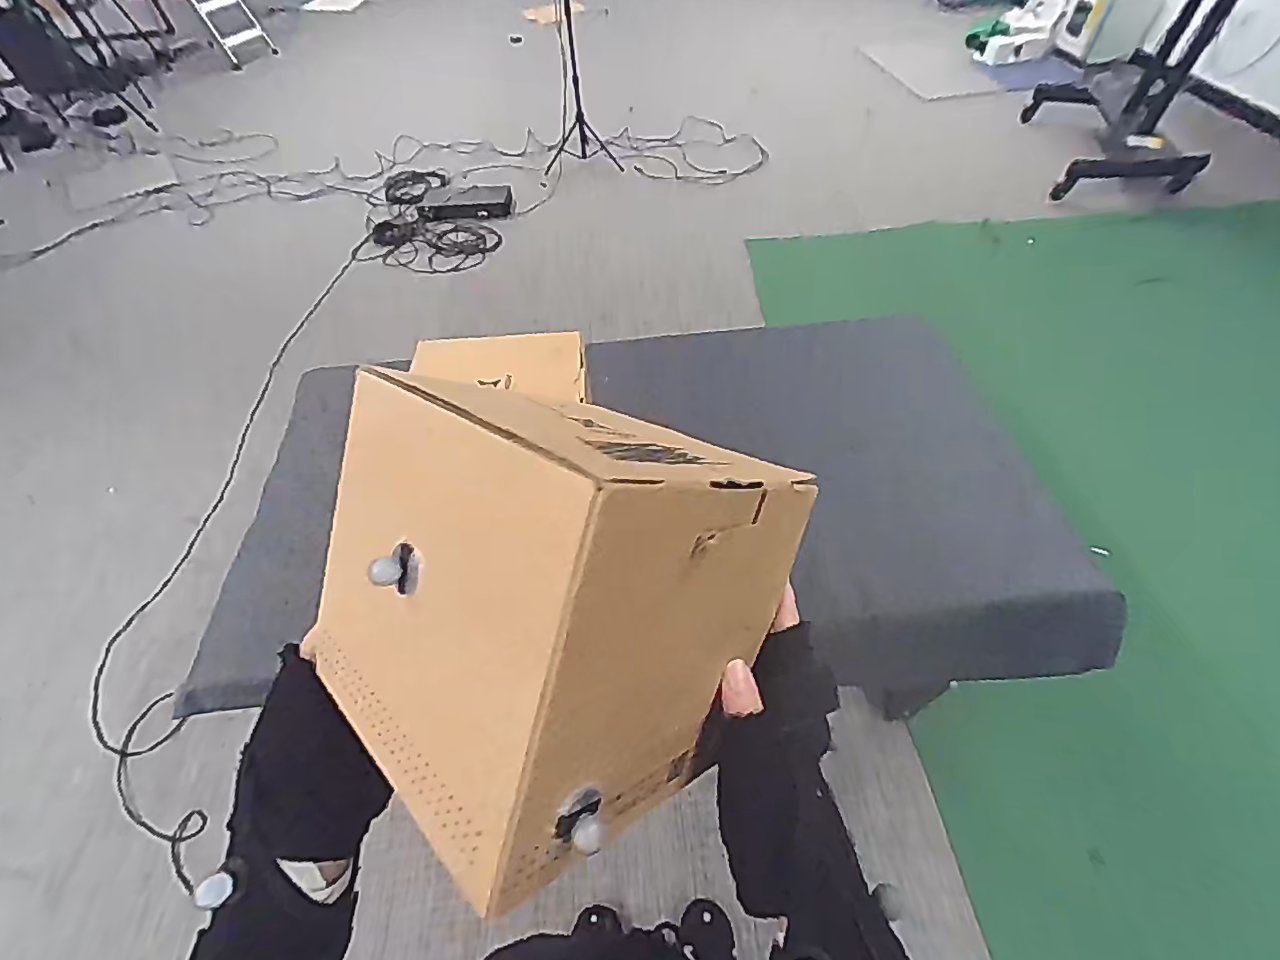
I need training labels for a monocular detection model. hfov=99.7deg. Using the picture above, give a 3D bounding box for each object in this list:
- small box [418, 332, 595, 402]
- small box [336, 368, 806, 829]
[{"bbox_3d":[-0.136,-0.039,0.593,0.179,0.176,0.168,-5,50,0],"label":"small box"},{"bbox_3d":[-0.042,0.049,0.299,0.179,0.176,0.168,23,13,37],"label":"small box"}]
